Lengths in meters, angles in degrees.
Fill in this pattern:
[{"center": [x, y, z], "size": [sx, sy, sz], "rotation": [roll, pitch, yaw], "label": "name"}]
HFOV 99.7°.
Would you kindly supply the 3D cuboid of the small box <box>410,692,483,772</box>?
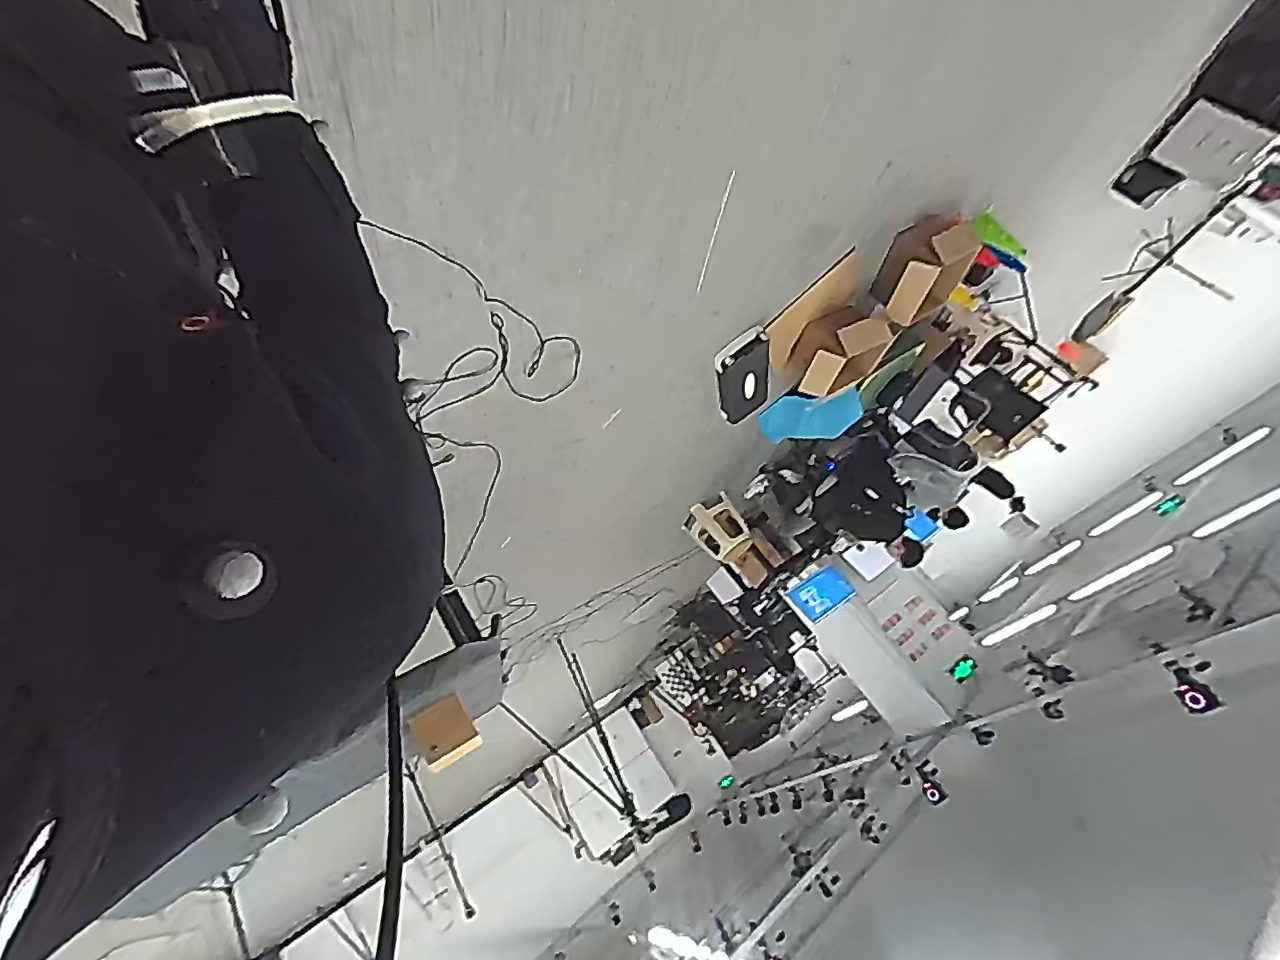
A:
[{"center": [-0.653, 0.850, 1.828], "size": [0.179, 0.176, 0.168], "rotation": [-25, 154, -26], "label": "small box"}]
